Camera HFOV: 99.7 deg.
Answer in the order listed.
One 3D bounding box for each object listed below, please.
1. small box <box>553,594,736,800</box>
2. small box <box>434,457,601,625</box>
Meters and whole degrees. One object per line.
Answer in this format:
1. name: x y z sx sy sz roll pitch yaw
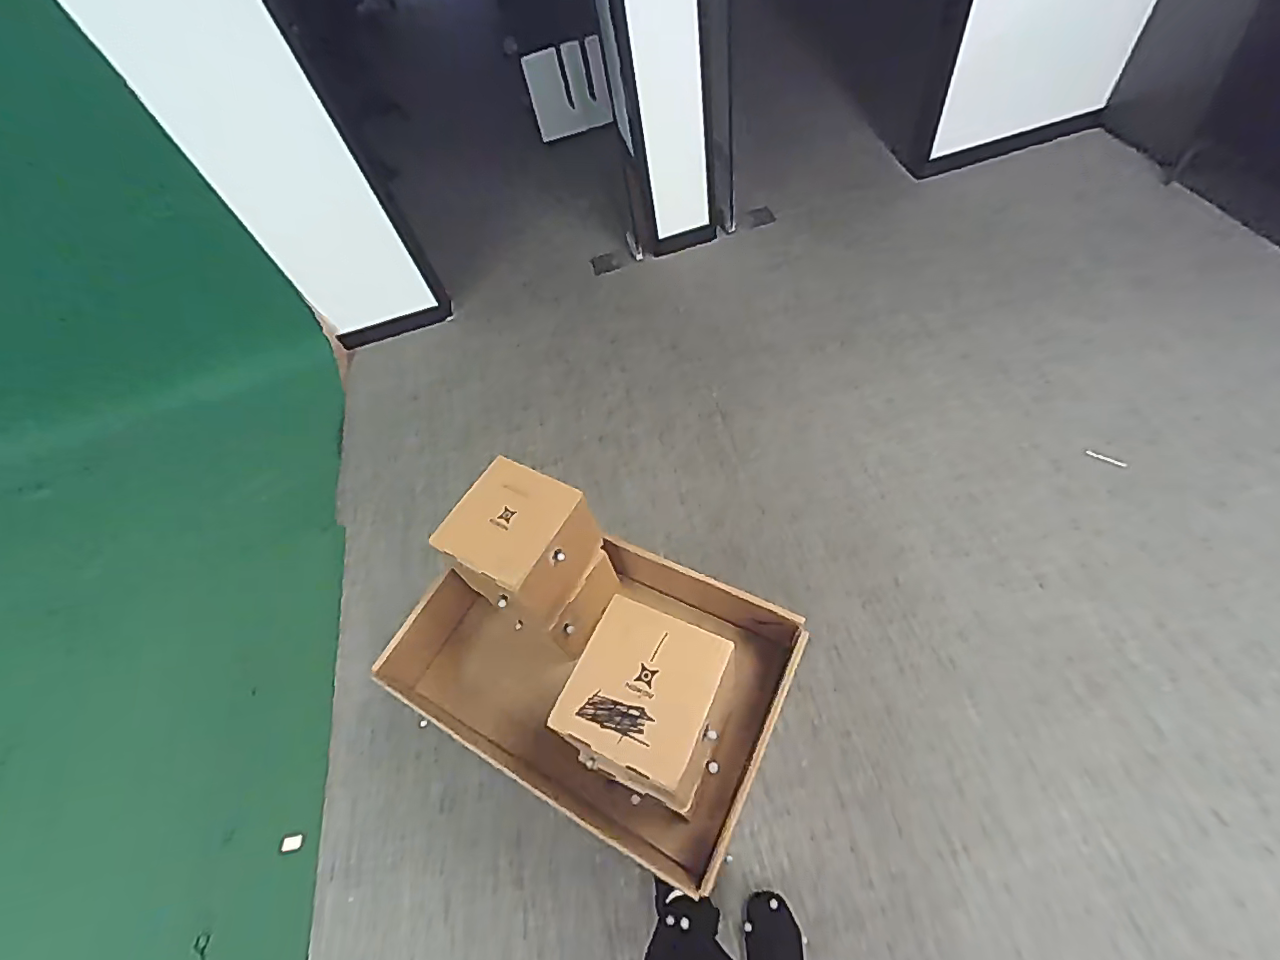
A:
1. small box: 0.019 0.282 0.695 0.168 0.176 0.179 18 59 20
2. small box: -0.179 0.101 0.854 0.168 0.176 0.179 23 63 21
